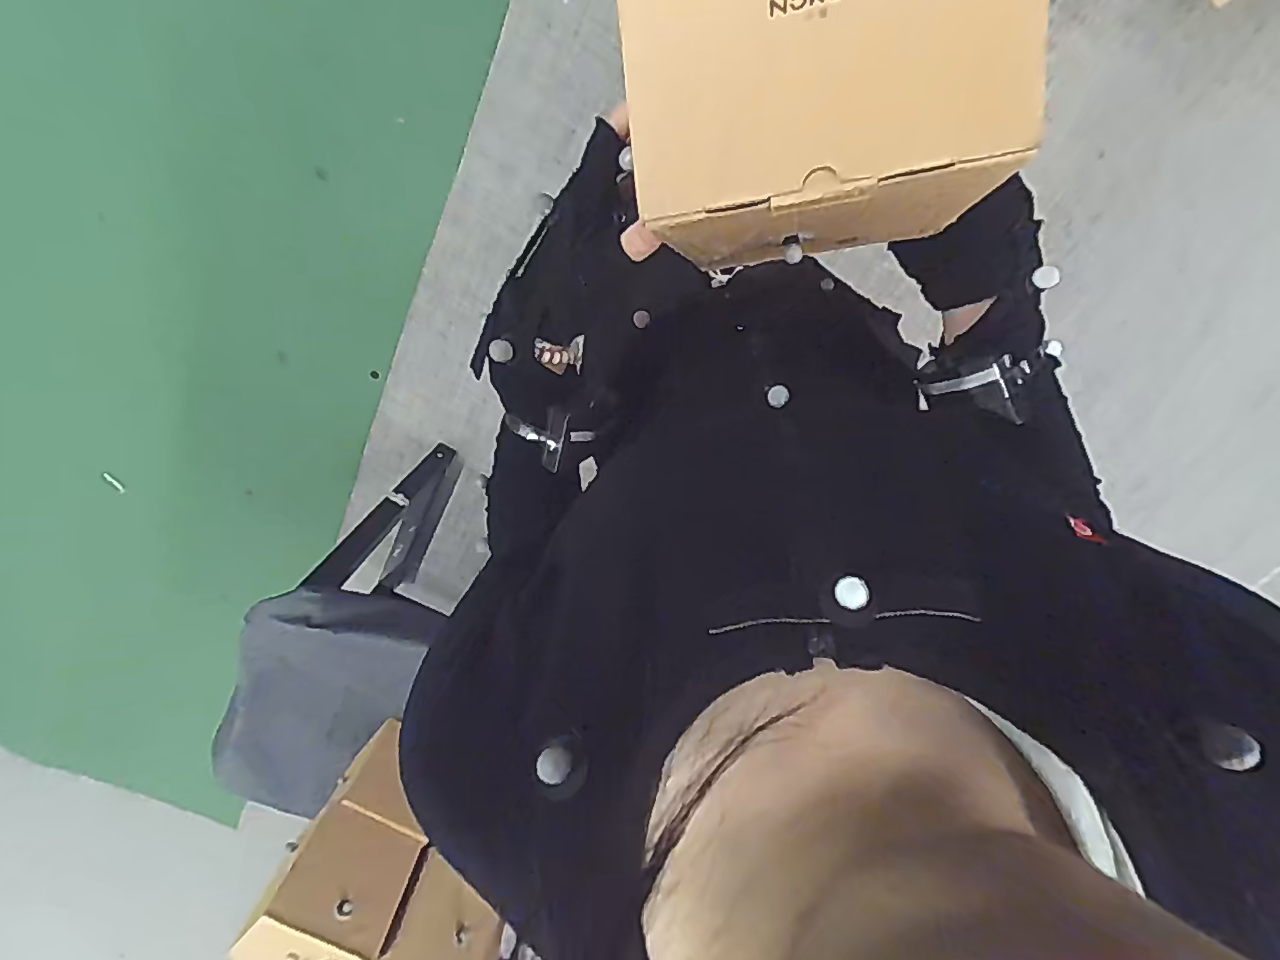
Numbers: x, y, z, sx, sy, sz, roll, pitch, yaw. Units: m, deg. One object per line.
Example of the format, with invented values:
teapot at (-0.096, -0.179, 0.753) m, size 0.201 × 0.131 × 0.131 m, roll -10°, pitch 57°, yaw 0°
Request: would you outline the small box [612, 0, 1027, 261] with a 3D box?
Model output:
small box at (0.087, -0.233, 0.297) m, size 0.168 × 0.176 × 0.179 m, roll -3°, pitch 104°, yaw 17°
